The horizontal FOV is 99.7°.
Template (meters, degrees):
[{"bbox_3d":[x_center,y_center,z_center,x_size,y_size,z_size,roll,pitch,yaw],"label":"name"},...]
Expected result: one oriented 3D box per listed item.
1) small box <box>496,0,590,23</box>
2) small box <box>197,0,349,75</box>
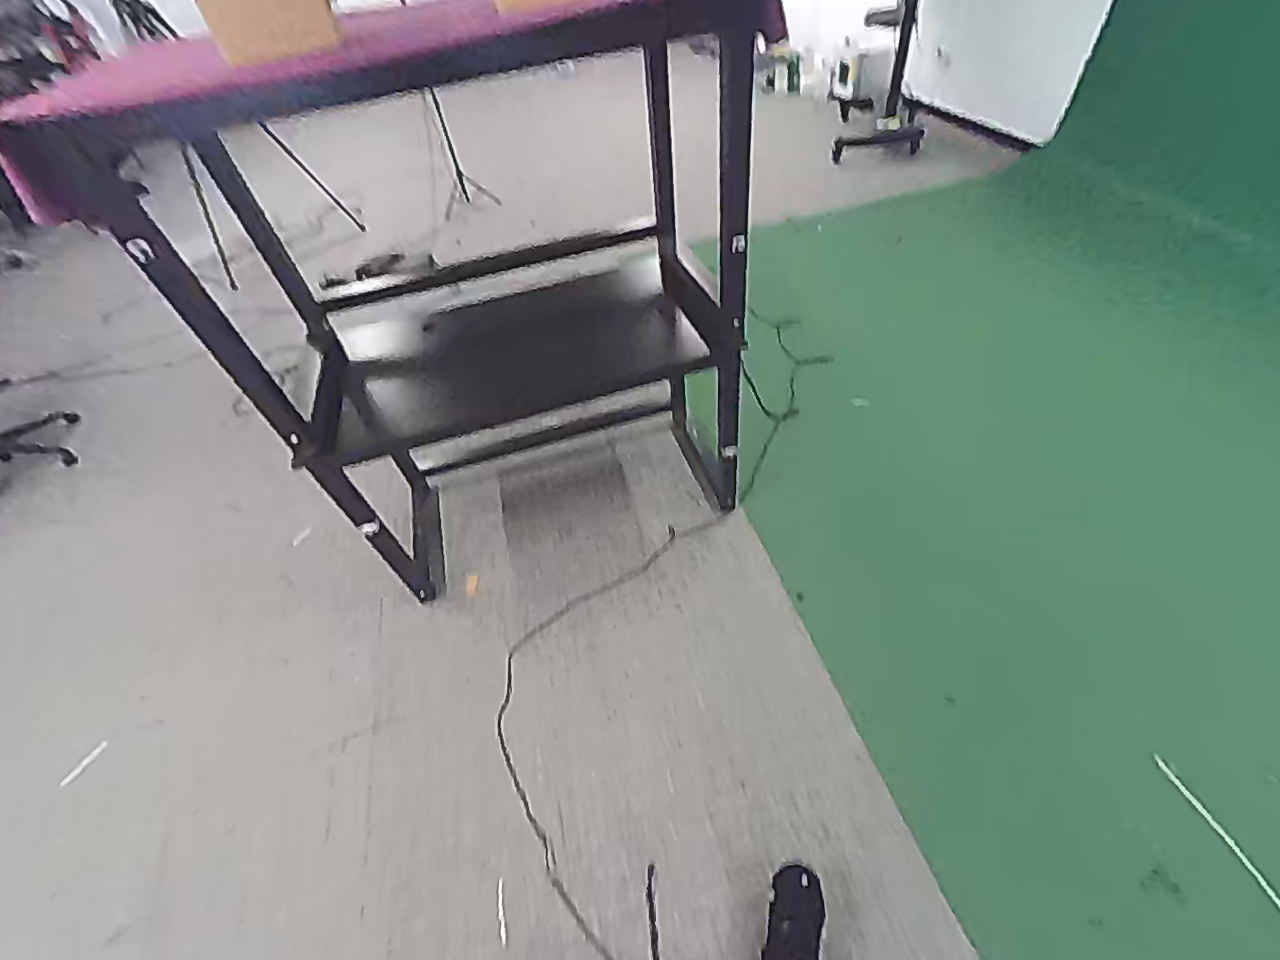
[{"bbox_3d":[-0.191,-0.936,0.958,0.168,0.176,0.179,-14,46,-4],"label":"small box"},{"bbox_3d":[-0.599,-0.774,0.865,0.179,0.176,0.168,-19,48,-9],"label":"small box"}]
